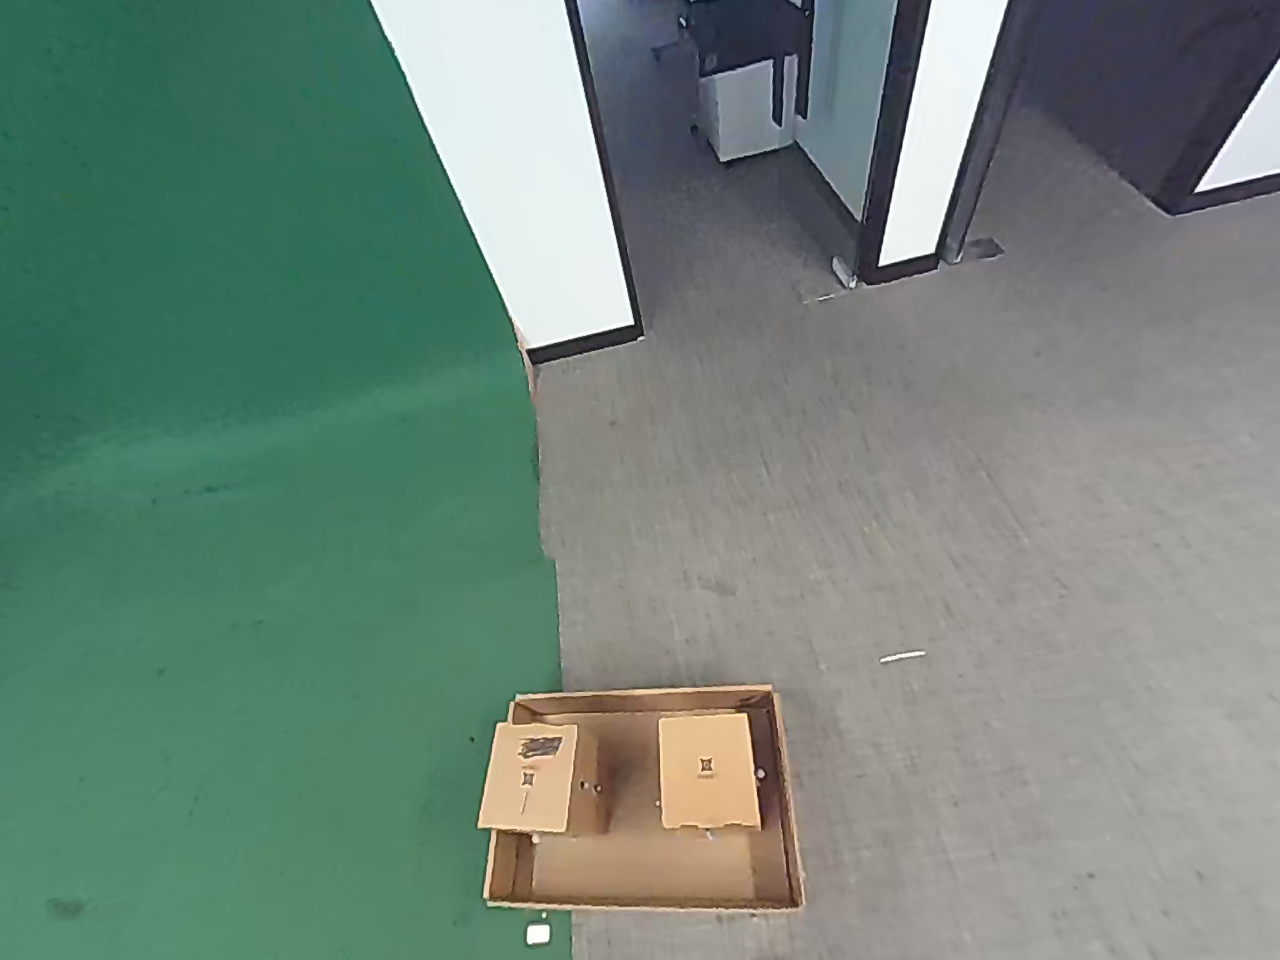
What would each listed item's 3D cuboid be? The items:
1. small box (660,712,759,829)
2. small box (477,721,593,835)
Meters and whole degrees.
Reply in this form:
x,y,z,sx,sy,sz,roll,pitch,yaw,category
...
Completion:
x,y,z,sx,sy,sz,roll,pitch,yaw,category
0.129,0.548,1.015,0.168,0.176,0.179,-6,55,8,small box
-0.192,0.584,1.056,0.168,0.176,0.179,-2,56,9,small box
